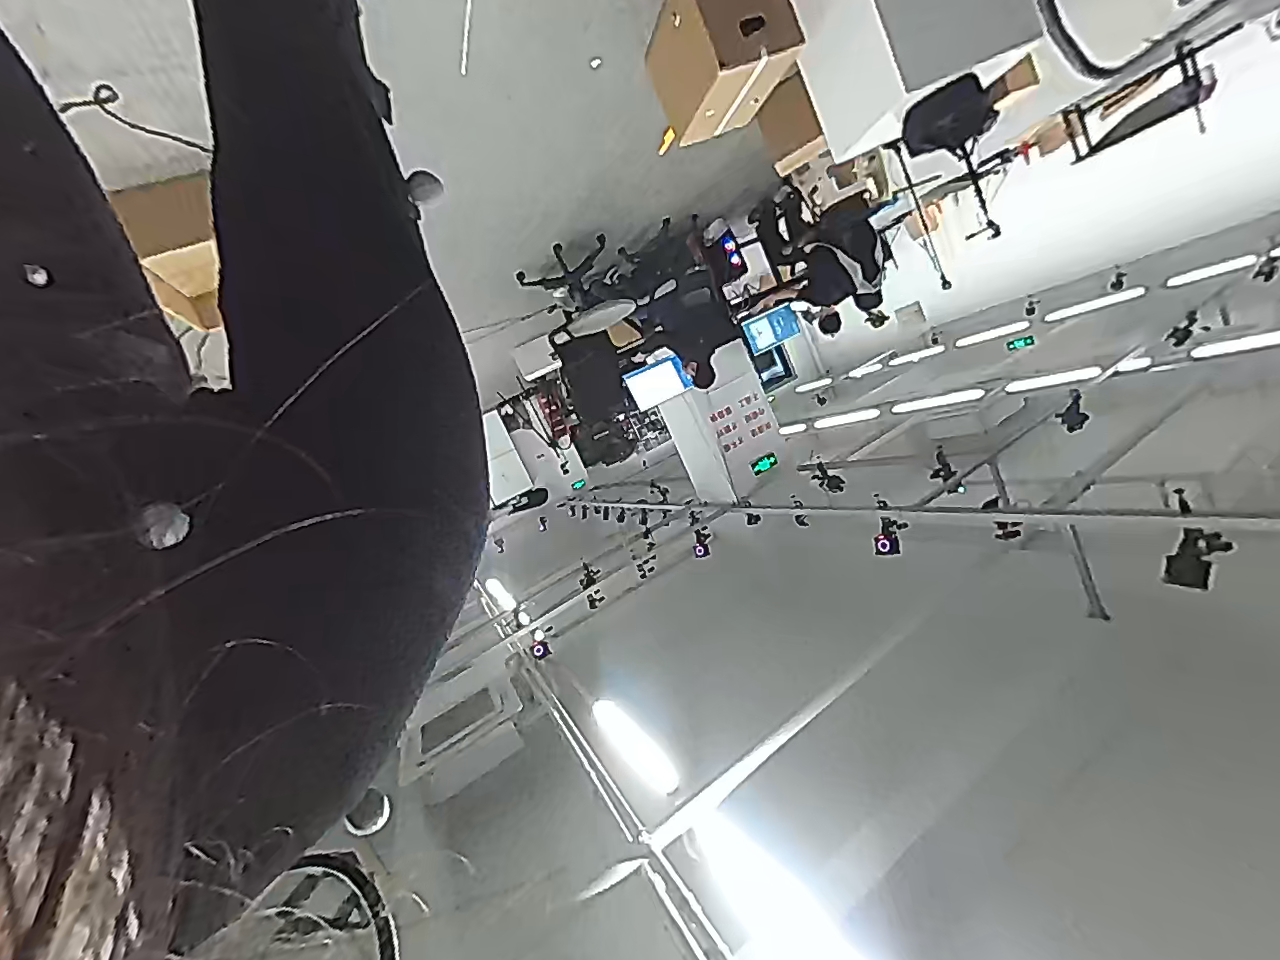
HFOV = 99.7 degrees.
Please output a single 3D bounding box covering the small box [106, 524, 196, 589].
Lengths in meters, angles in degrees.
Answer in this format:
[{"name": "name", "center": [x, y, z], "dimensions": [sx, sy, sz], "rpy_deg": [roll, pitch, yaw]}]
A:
[{"name": "small box", "center": [-1.783, 0.274, 1.969], "dimensions": [0.179, 0.176, 0.168], "rpy_deg": [-28, -172, -23]}]
